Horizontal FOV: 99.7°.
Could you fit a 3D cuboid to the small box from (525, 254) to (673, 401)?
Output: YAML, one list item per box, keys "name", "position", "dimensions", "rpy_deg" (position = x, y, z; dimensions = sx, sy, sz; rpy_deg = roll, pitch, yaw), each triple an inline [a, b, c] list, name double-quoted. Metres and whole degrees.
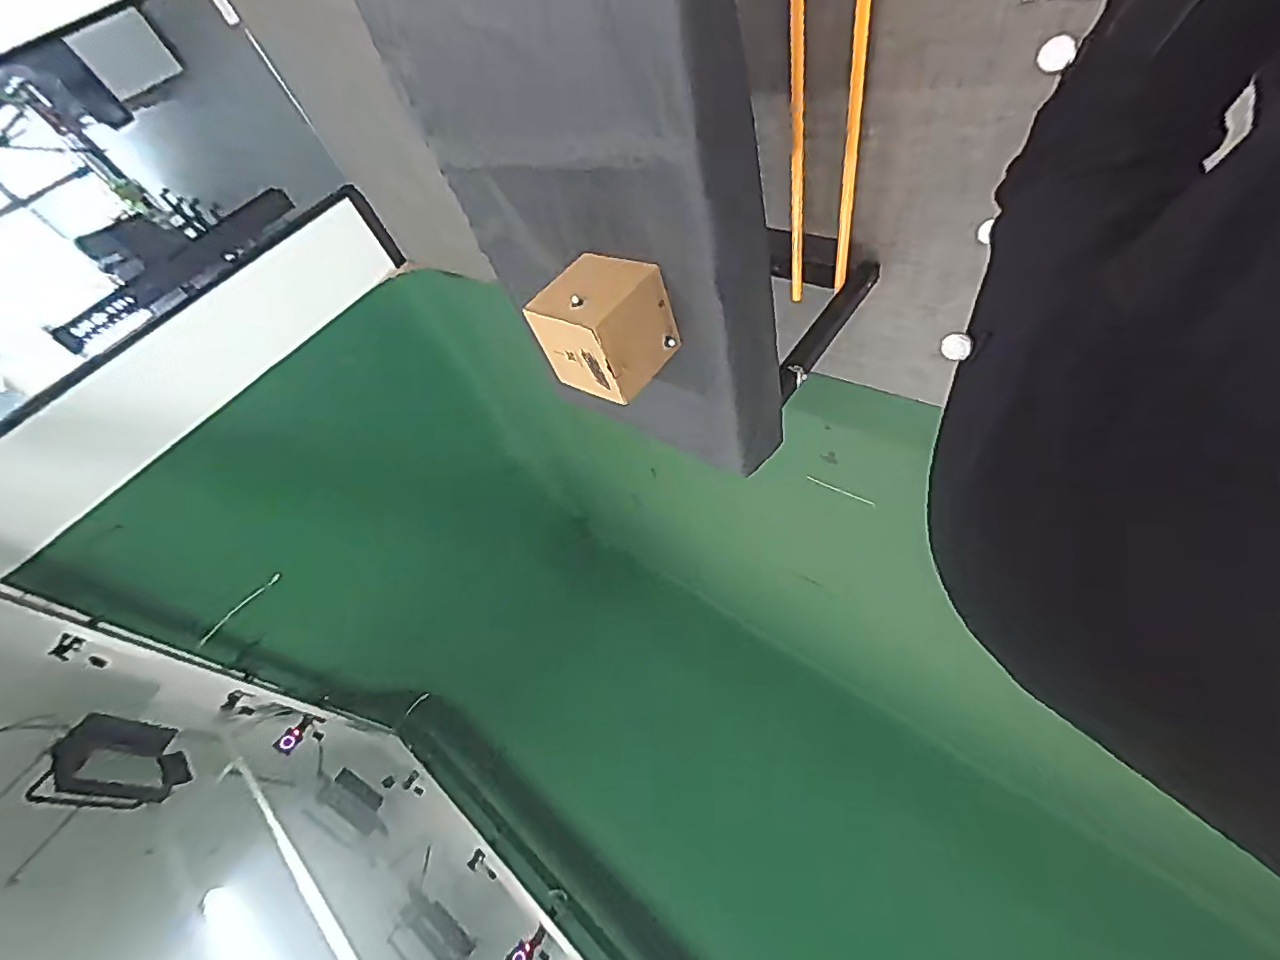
- name: "small box"
  position: [-0.059, -0.271, 0.945]
  dimensions: [0.179, 0.176, 0.168]
  rpy_deg: [26, 155, 35]
